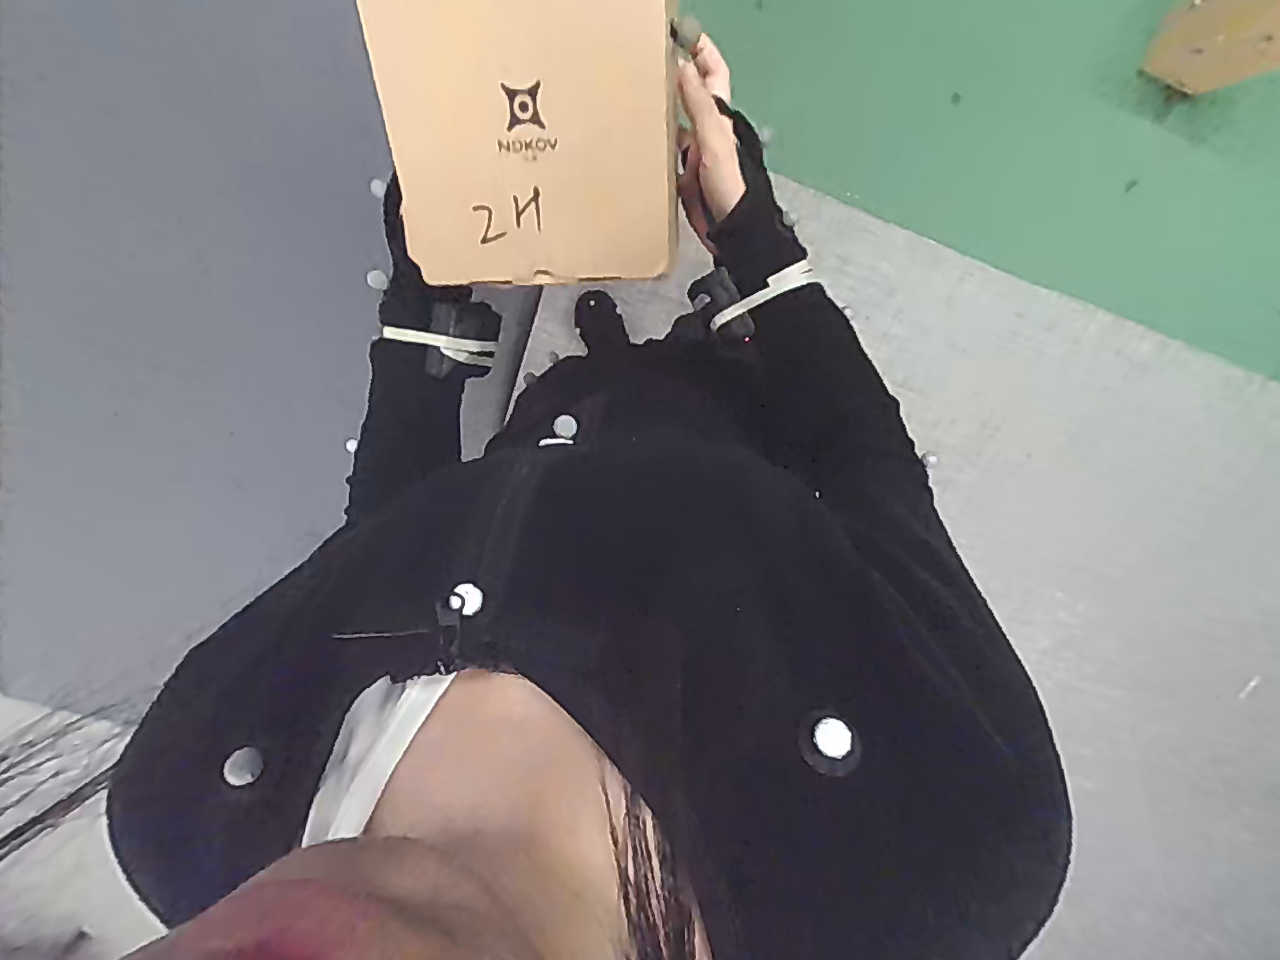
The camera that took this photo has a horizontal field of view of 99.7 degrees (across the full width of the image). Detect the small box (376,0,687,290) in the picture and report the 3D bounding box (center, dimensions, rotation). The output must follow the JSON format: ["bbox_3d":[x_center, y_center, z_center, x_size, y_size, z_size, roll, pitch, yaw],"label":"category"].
[{"bbox_3d":[-0.054,-0.242,0.388,0.168,0.176,0.179,2,120,7],"label":"small box"}]
